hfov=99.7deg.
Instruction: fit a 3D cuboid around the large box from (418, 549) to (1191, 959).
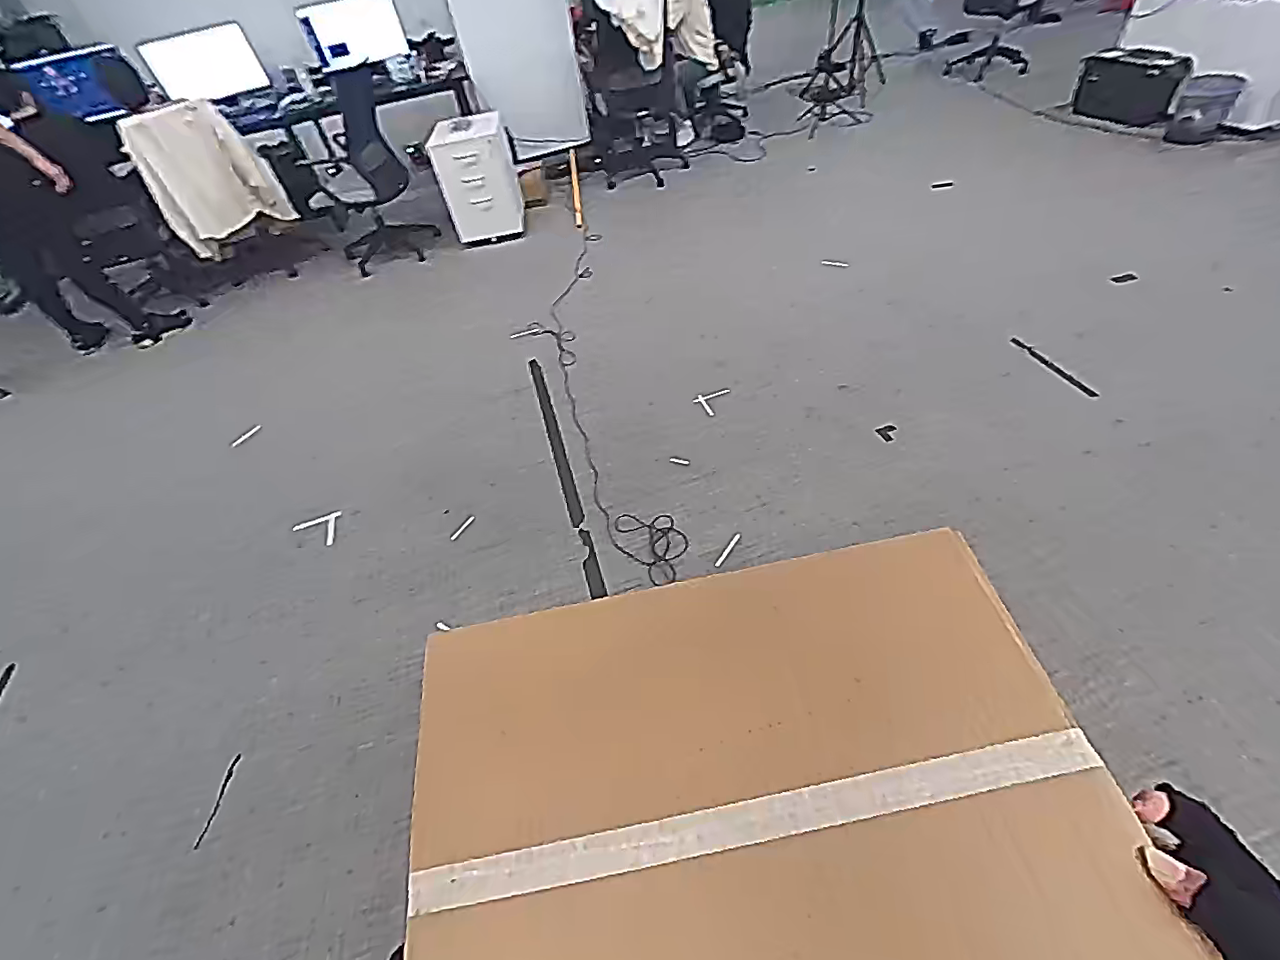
[{"bbox_3d":[0.085,0.299,0.438,0.408,0.320,0.320,-12,52,0],"label":"large box"}]
